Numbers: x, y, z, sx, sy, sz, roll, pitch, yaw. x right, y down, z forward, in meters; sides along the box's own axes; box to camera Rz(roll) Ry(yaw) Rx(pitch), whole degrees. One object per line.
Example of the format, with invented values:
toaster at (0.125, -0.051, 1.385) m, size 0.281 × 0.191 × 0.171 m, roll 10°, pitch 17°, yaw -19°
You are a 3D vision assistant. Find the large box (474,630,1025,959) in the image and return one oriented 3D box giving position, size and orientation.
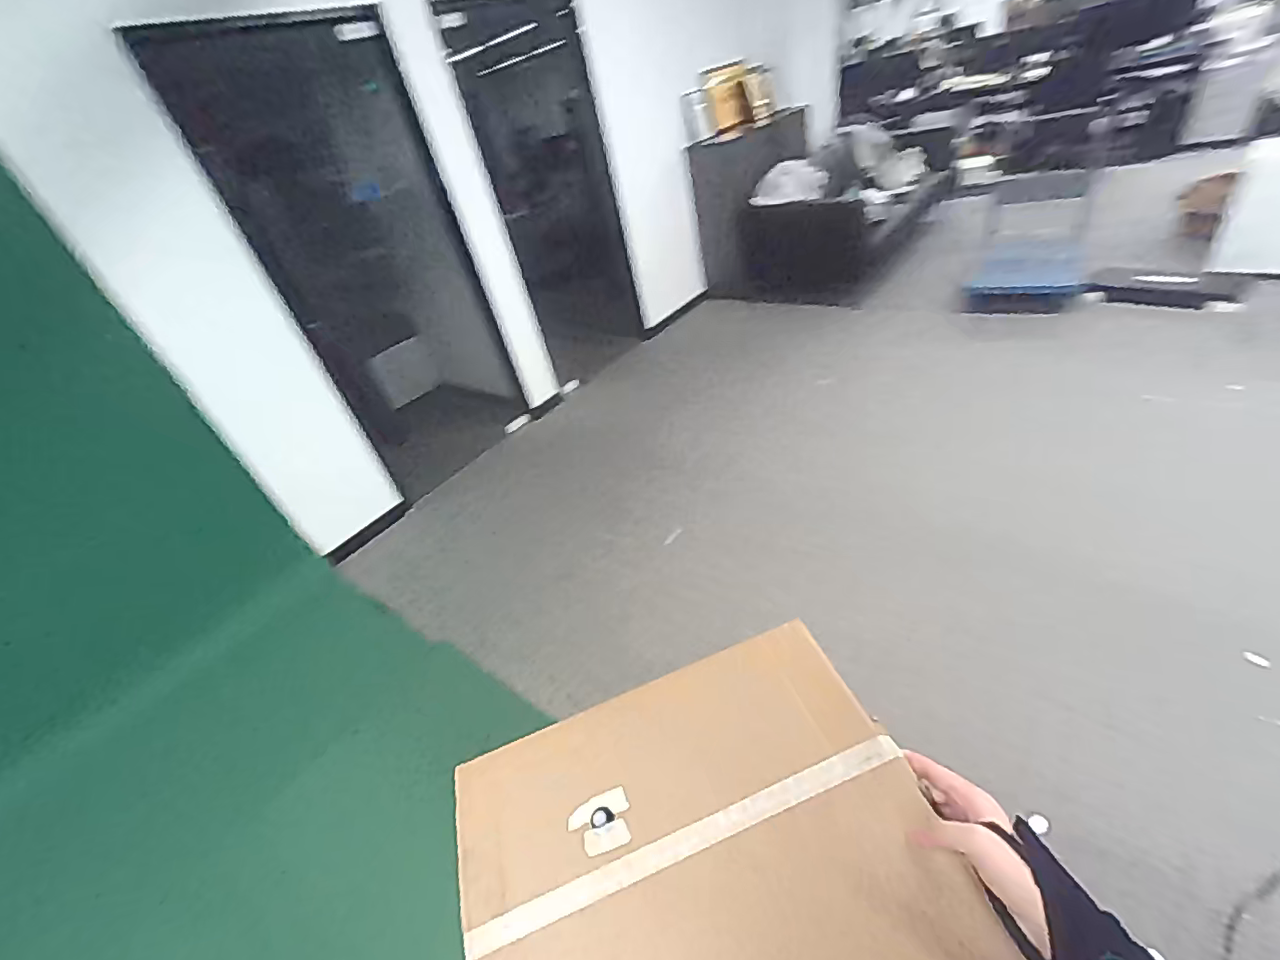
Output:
large box at (0.088, 0.437, 0.578) m, size 0.408 × 0.320 × 0.320 m, roll -22°, pitch 41°, yaw -4°
